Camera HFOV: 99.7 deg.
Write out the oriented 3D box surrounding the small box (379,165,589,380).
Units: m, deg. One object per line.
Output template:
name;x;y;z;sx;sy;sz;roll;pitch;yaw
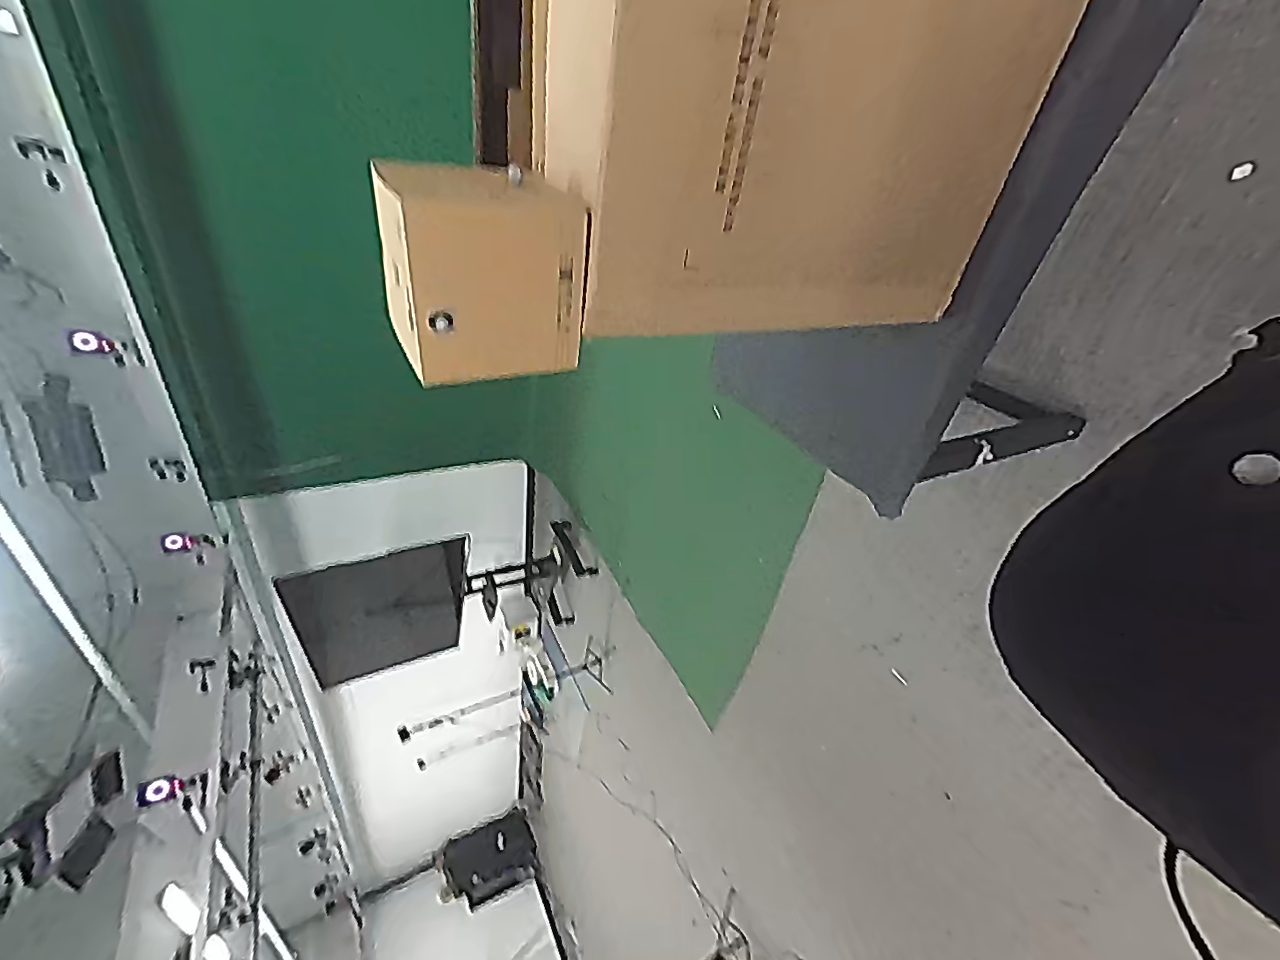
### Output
small box;-0.168;-0.224;0.580;0.179;0.176;0.168;51;144;43
